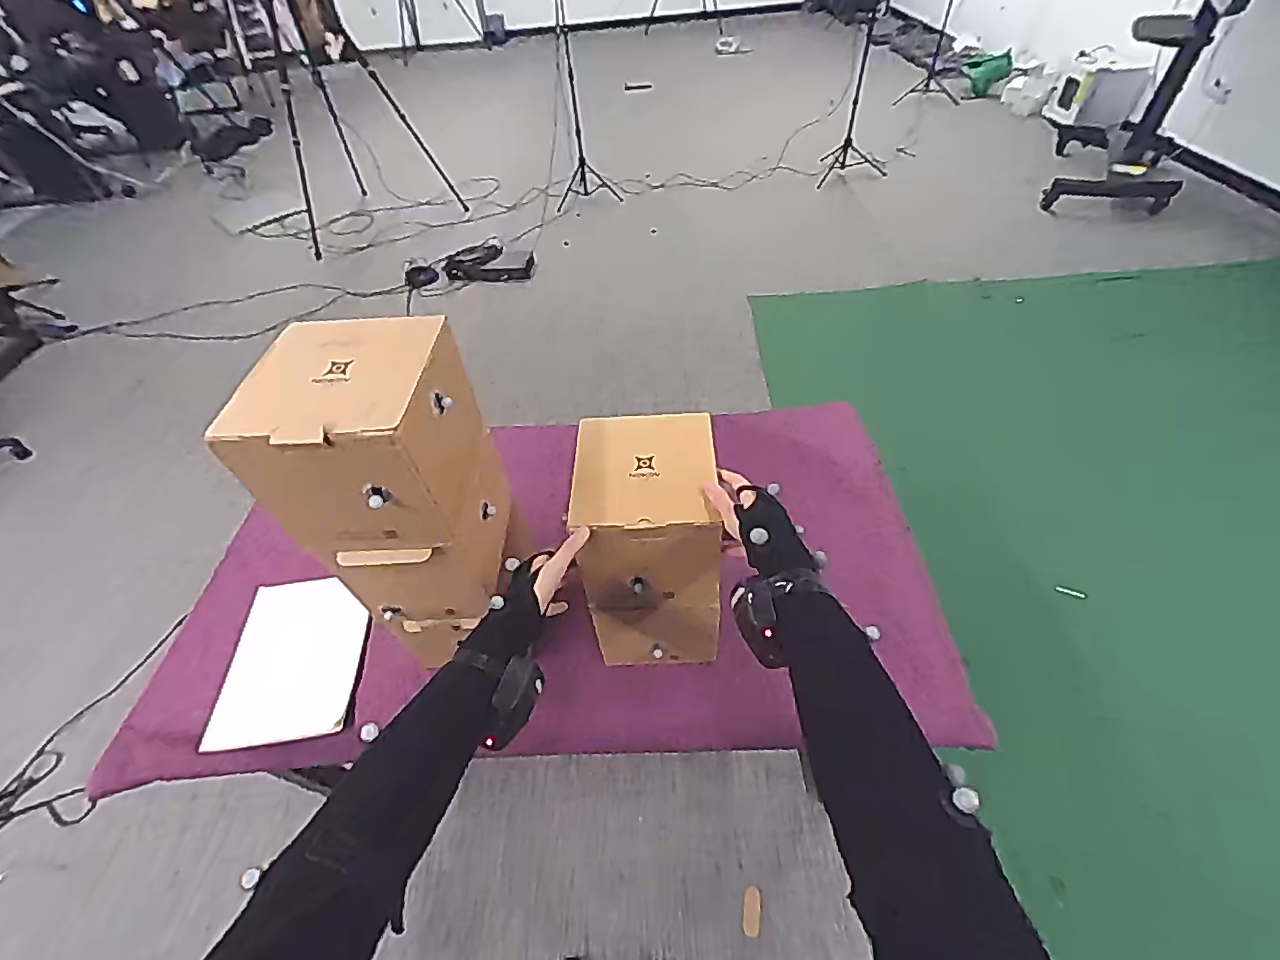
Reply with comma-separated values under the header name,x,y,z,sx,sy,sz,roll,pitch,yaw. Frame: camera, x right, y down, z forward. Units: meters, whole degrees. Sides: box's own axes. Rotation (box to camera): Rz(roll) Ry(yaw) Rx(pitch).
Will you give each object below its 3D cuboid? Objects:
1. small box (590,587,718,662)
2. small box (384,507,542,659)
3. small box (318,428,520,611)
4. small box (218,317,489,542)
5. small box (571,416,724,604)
name,x,y,z,sx,sy,sz,roll,pitch,yaw
small box,0.024,0.152,0.802,0.168,0.176,0.179,-3,48,4
small box,-0.251,0.161,0.818,0.168,0.176,0.179,-2,49,2
small box,-0.261,0.056,0.691,0.168,0.176,0.179,-2,48,3
small box,-0.270,-0.048,0.566,0.168,0.176,0.179,-1,48,3
small box,0.012,0.039,0.686,0.168,0.176,0.179,-2,48,3
